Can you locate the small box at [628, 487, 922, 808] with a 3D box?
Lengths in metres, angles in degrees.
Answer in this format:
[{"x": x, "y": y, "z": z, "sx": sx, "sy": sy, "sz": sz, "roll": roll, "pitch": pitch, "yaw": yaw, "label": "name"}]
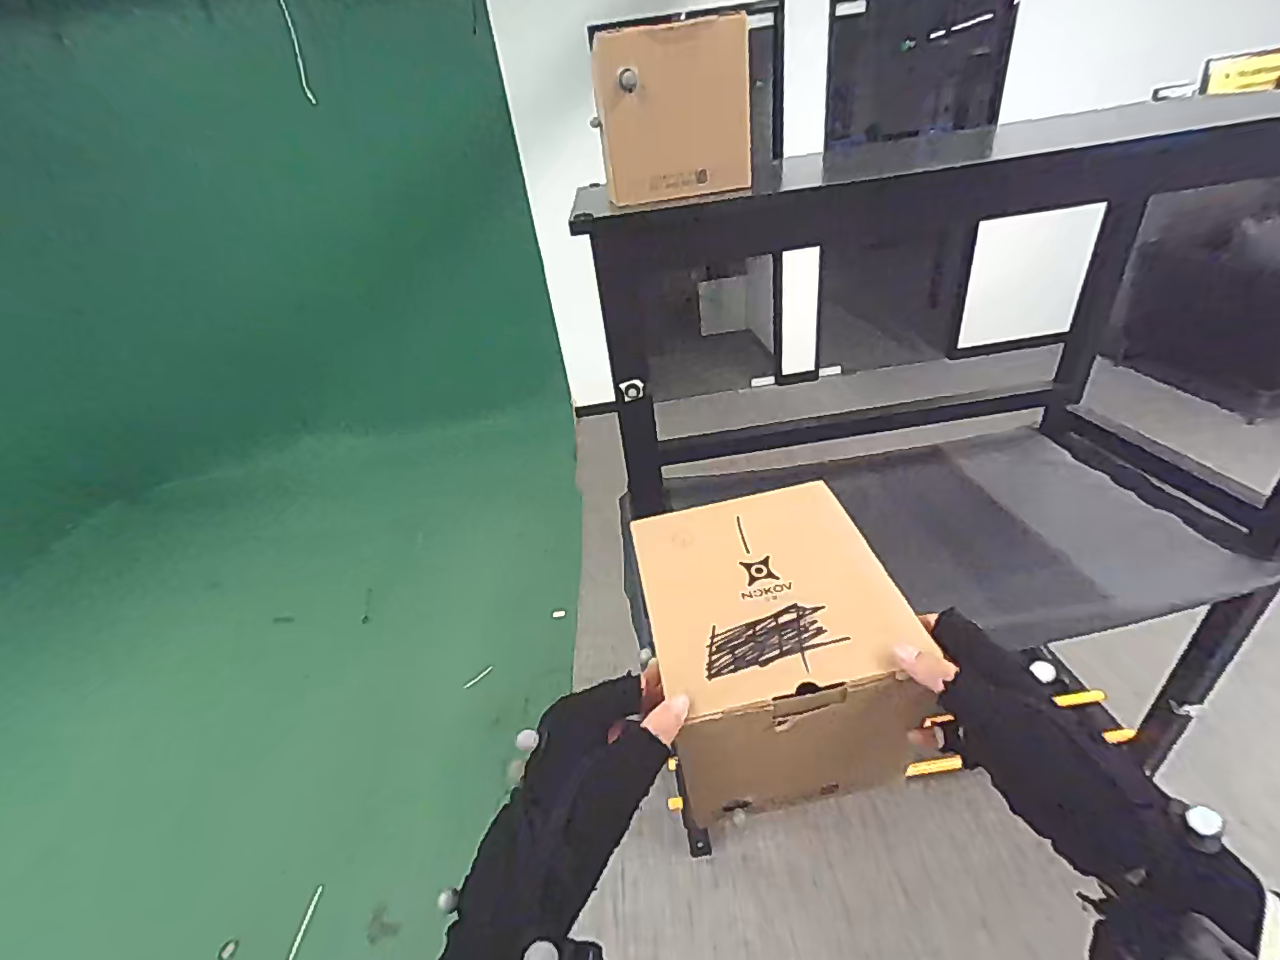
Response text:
[{"x": 0.093, "y": 0.137, "z": 0.436, "sx": 0.168, "sy": 0.176, "sz": 0.179, "roll": -12, "pitch": 38, "yaw": -1, "label": "small box"}]
